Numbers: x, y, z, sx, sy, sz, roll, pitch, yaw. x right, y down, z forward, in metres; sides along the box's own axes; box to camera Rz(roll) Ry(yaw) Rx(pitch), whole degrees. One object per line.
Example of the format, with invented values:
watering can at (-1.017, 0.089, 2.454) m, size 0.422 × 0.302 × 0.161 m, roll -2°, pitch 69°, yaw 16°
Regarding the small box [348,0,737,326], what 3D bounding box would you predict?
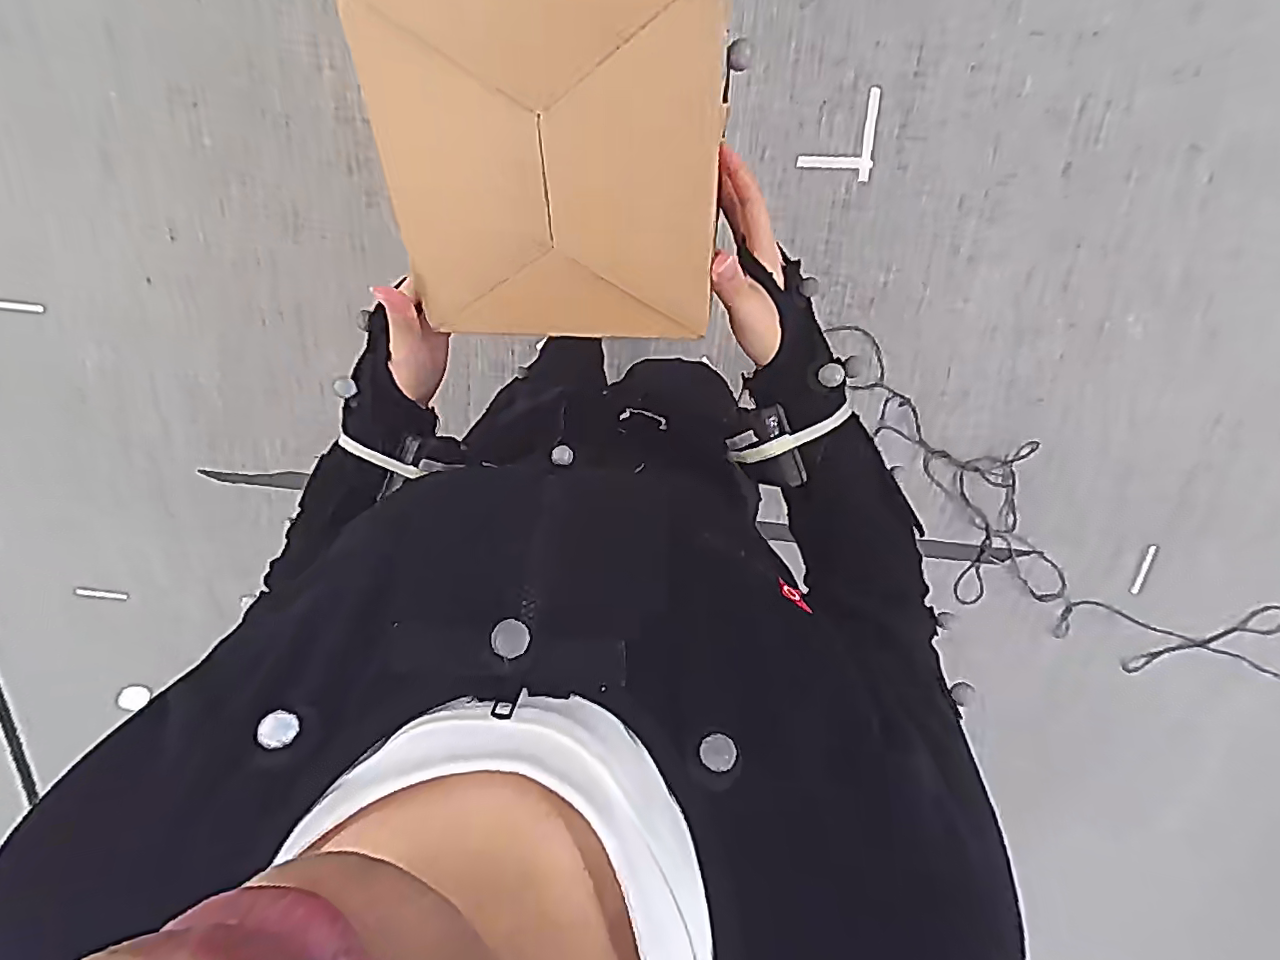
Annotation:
small box at (-0.035, -0.206, 0.338) m, size 0.179 × 0.176 × 0.168 m, roll 4°, pitch 129°, yaw 6°
